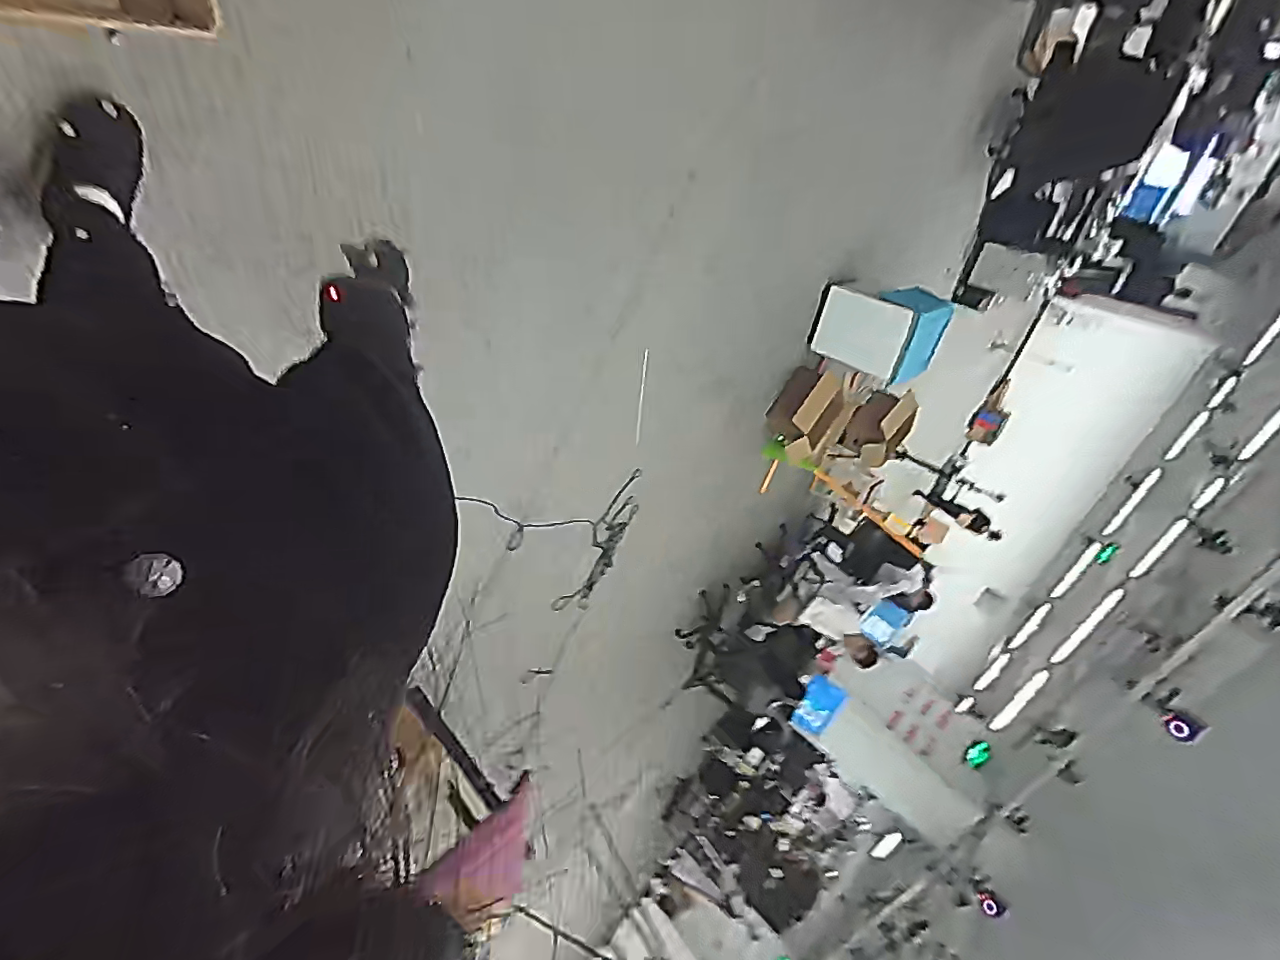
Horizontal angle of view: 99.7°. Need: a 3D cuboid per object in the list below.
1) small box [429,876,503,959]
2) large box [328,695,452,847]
[{"bbox_3d":[-0.563,1.443,1.756,0.168,0.176,0.179,-26,138,-38],"label":"small box"},{"bbox_3d":[-0.997,1.165,2.181,0.320,0.320,0.408,-28,137,-38],"label":"large box"}]
